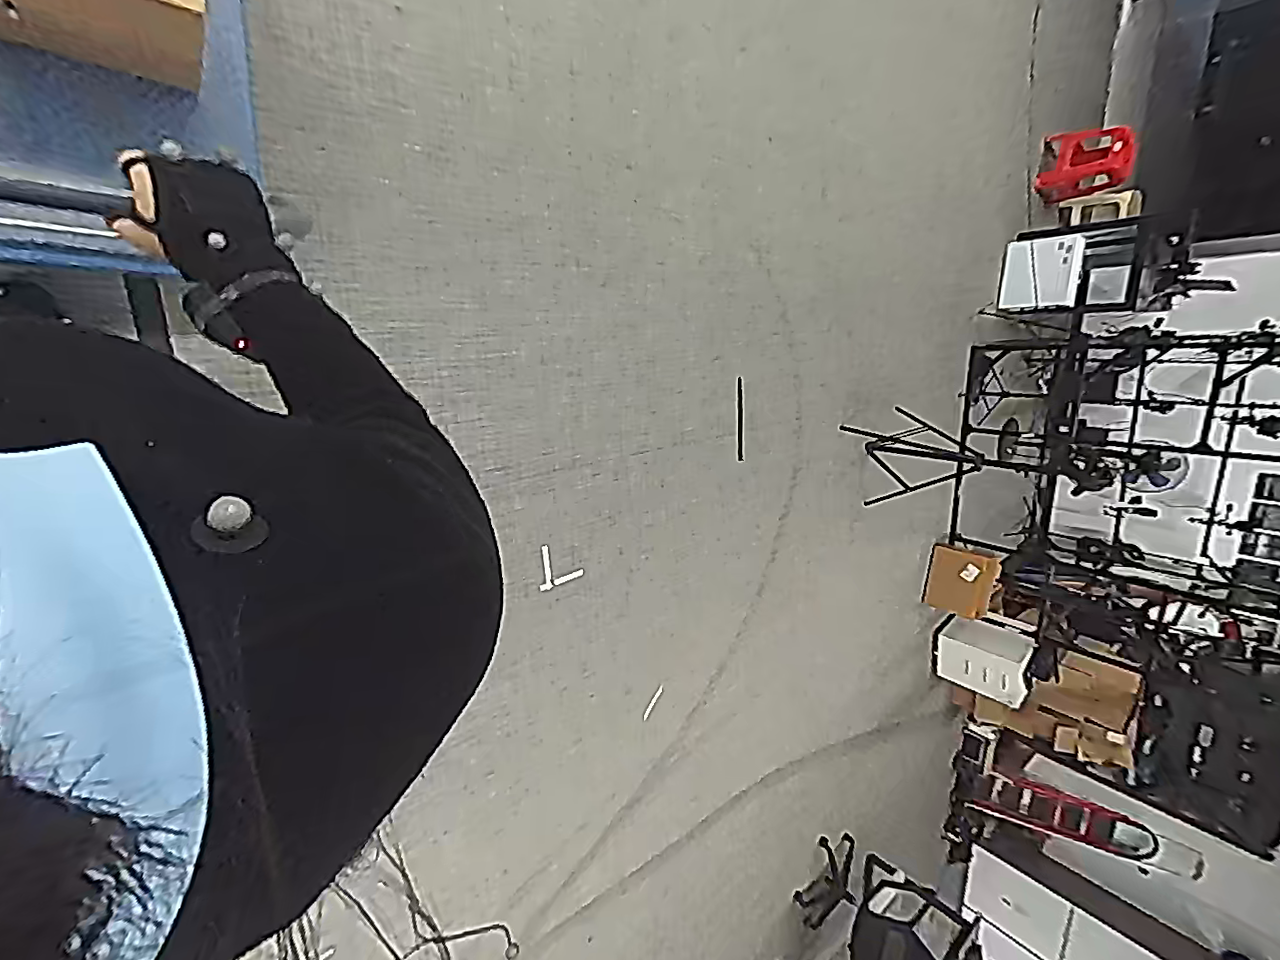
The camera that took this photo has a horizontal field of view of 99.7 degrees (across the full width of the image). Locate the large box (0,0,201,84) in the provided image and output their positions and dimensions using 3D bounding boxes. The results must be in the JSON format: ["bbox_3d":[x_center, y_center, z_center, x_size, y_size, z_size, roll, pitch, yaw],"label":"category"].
[{"bbox_3d":[-0.840,-0.791,0.690,0.408,0.320,0.320,-7,105,-39],"label":"large box"}]
